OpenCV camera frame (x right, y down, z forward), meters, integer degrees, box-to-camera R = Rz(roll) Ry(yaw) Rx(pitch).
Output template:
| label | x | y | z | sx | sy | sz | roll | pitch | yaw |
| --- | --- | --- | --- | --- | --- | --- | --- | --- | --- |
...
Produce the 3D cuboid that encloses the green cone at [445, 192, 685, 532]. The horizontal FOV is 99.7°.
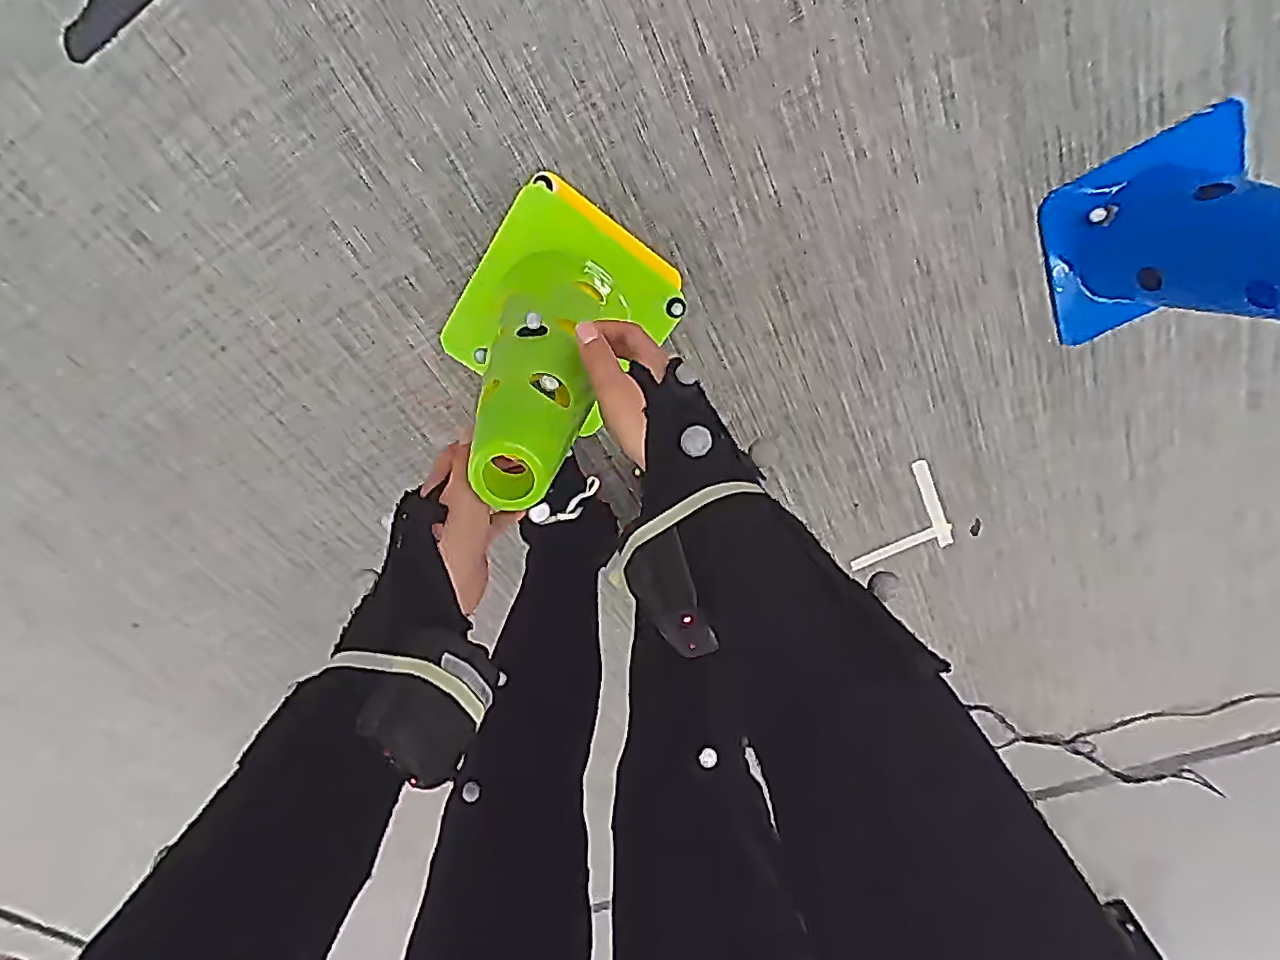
| label | x | y | z | sx | sy | sz | roll | pitch | yaw |
| --- | --- | --- | --- | --- | --- | --- | --- | --- | --- |
| green cone | -0.075 | -0.079 | 0.420 | 0.200 | 0.368 | 0.202 | 32 | 113 | -17 |
